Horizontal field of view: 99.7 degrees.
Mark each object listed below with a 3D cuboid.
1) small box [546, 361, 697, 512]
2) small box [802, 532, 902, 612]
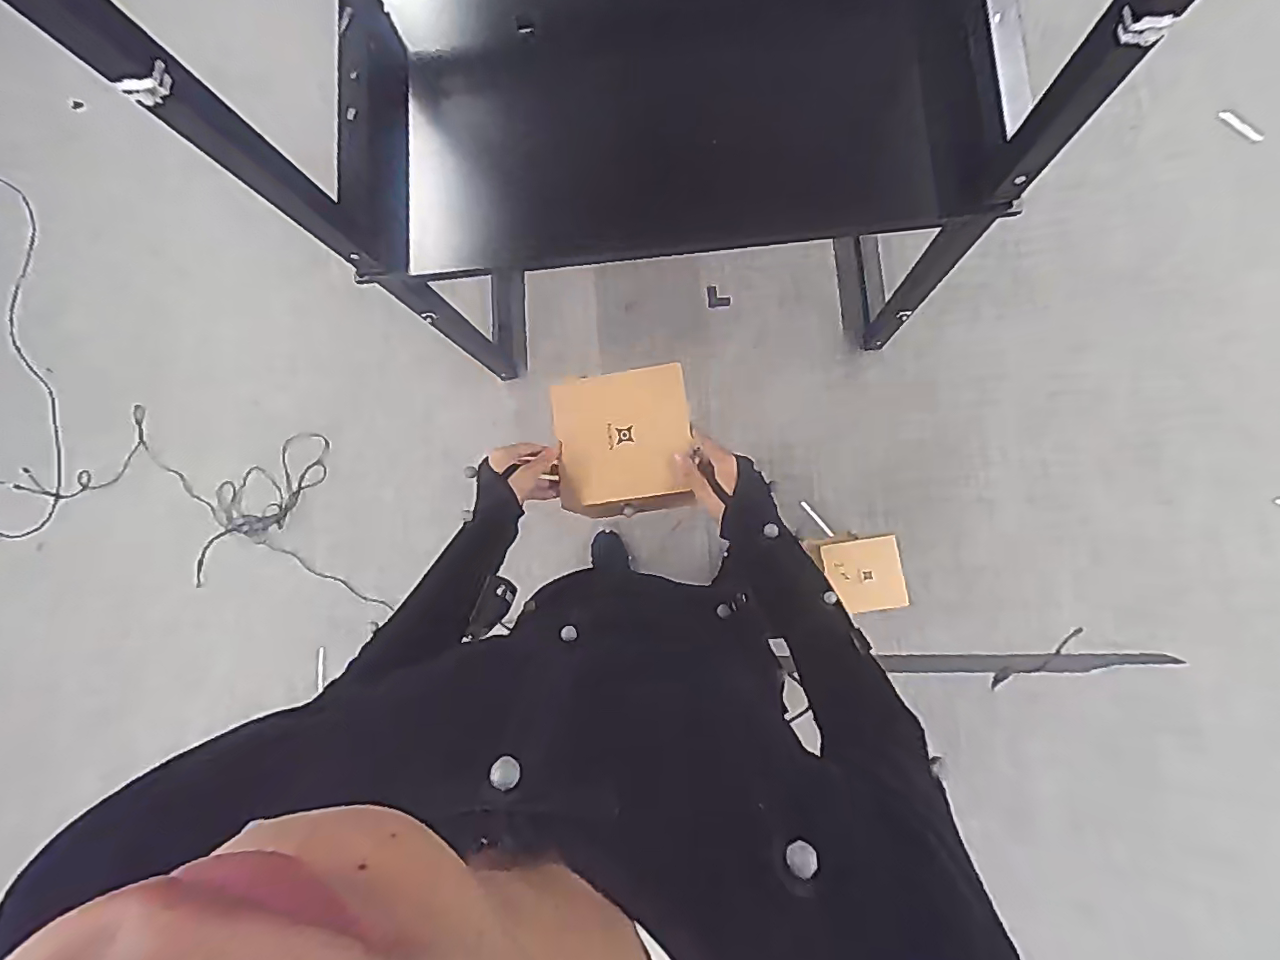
[{"bbox_3d":[-0.015,-0.050,0.753,0.179,0.176,0.168,-9,82,9],"label":"small box"},{"bbox_3d":[0.517,0.222,1.340,0.179,0.176,0.168,-9,84,6],"label":"small box"}]
